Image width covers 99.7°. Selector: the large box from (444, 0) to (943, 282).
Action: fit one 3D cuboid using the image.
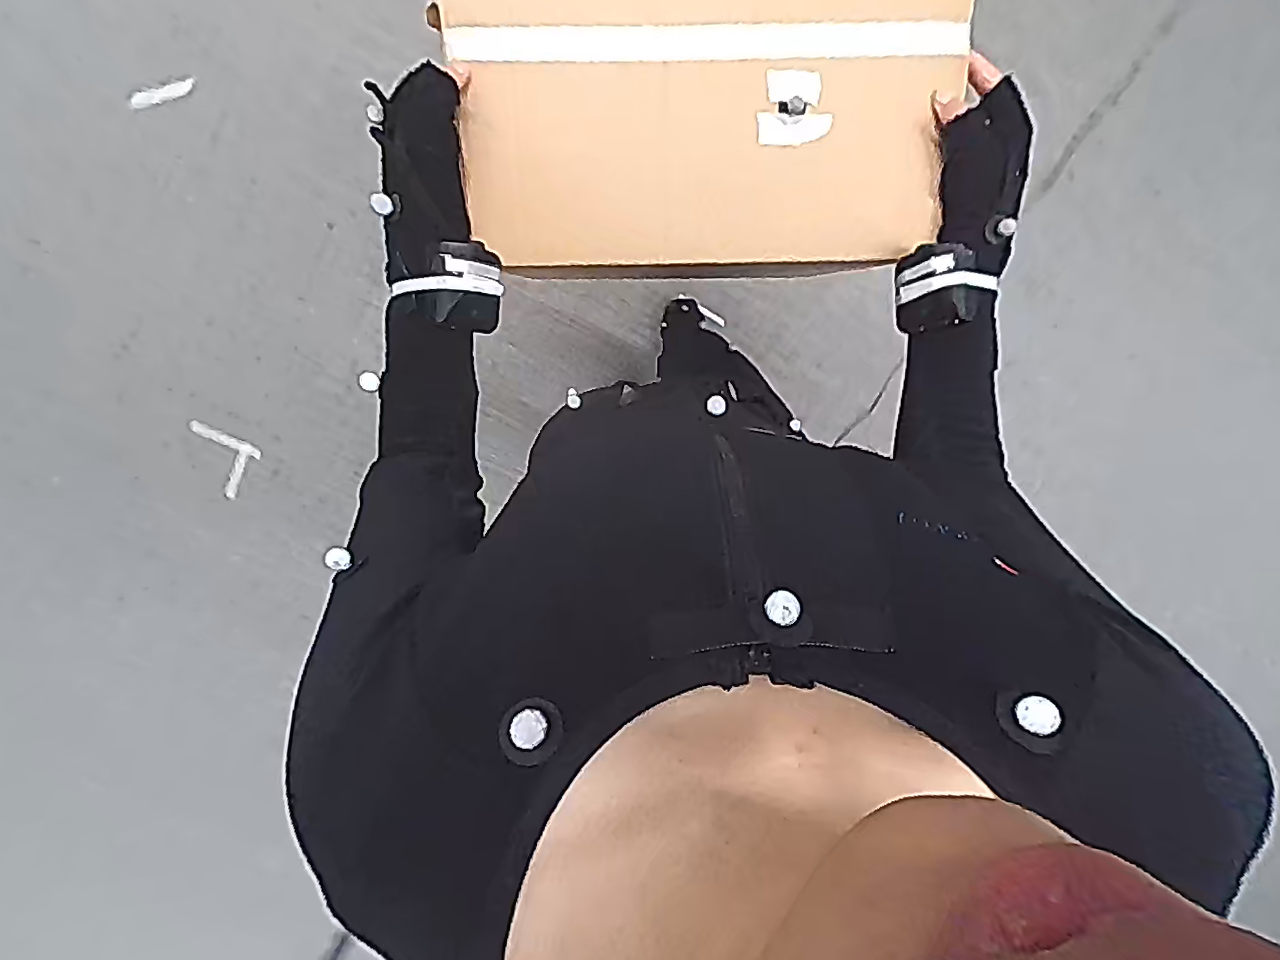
[{"bbox_3d":[0.039,-0.393,0.580,0.408,0.320,0.320,-3,109,-2],"label":"large box"}]
